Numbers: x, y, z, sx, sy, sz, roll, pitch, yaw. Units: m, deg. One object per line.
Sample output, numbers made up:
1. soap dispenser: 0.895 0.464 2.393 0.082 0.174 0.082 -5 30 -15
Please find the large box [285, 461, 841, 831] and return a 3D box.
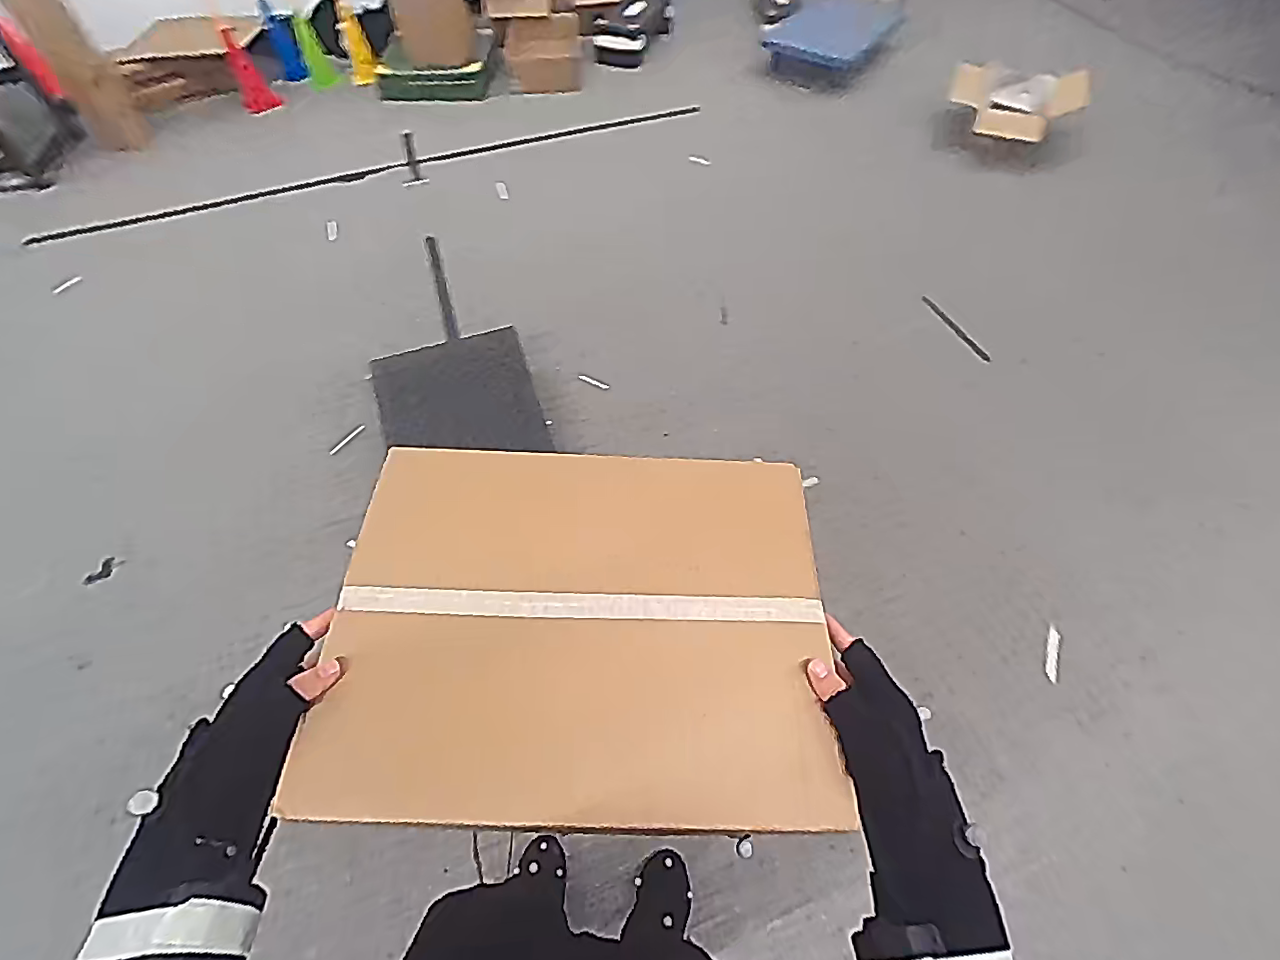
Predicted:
1. large box: -0.057 0.193 0.589 0.408 0.320 0.320 2 56 -2
